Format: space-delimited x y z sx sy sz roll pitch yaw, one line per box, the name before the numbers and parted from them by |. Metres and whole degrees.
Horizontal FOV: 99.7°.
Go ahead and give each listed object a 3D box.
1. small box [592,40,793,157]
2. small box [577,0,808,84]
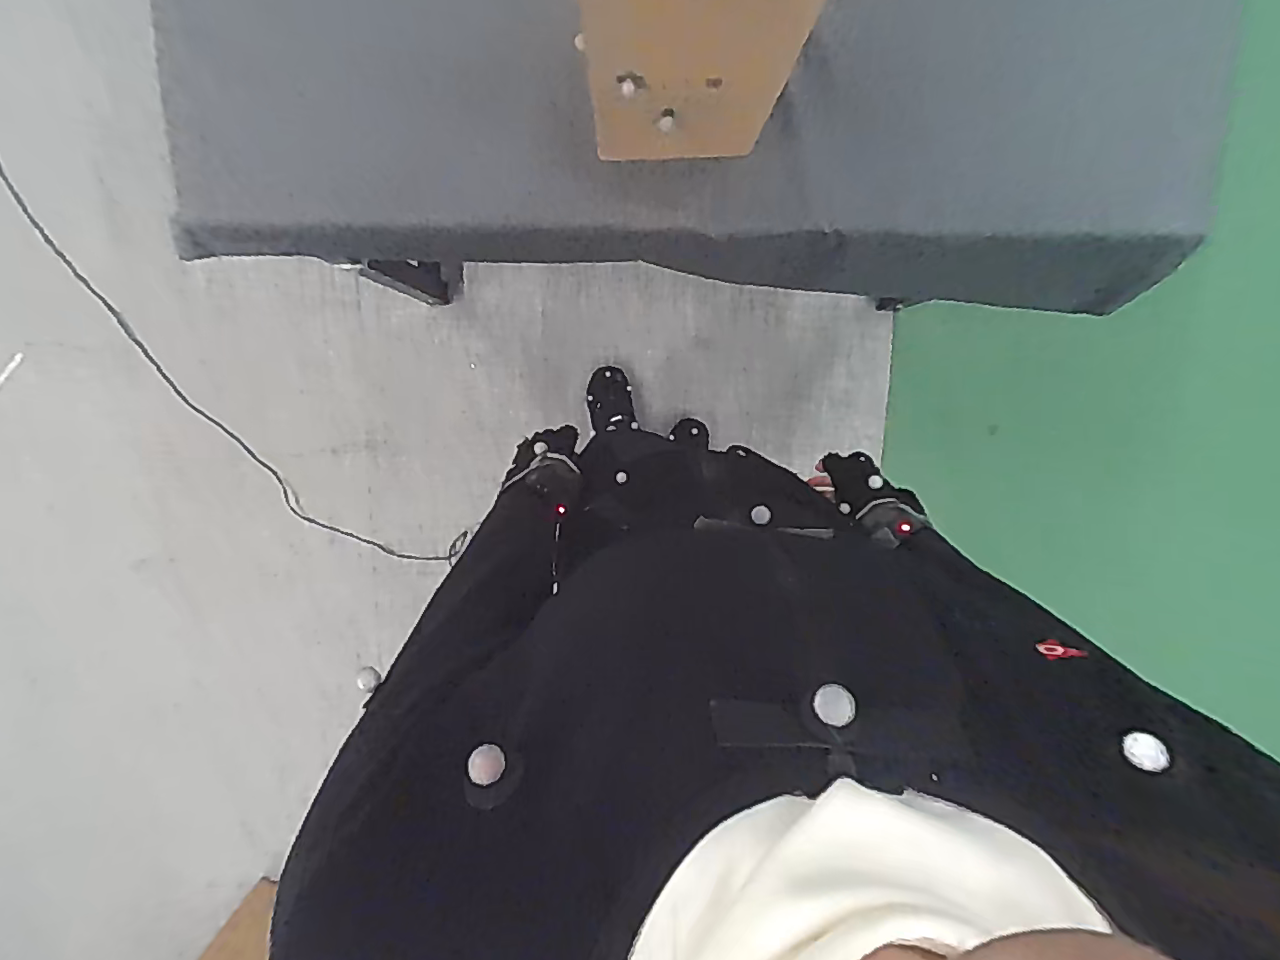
small box | 0.039 -0.448 0.538 0.179 0.176 0.168 -6 97 0
small box | 0.037 -0.411 0.375 0.168 0.176 0.179 -1 98 0
